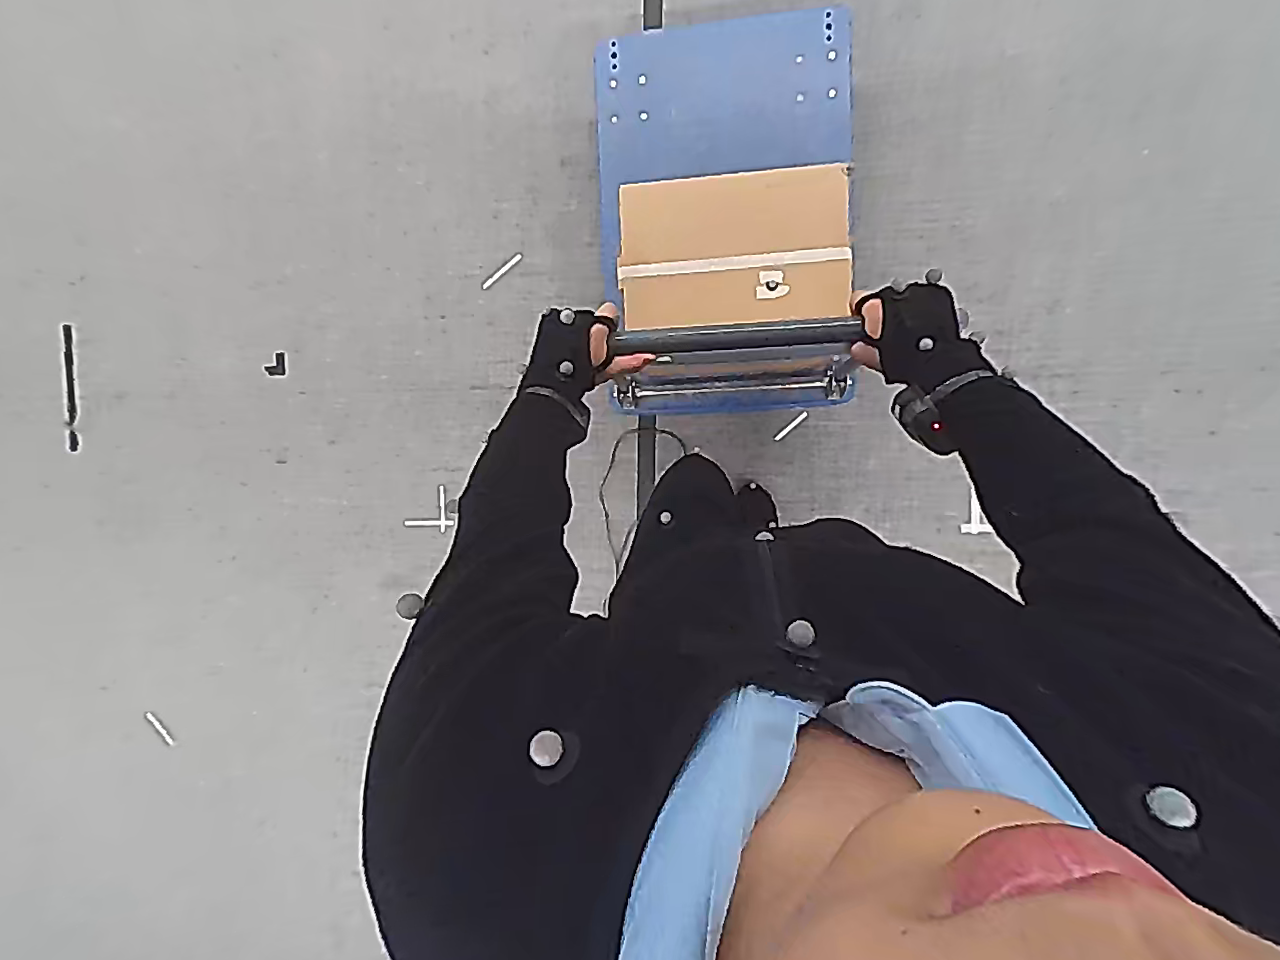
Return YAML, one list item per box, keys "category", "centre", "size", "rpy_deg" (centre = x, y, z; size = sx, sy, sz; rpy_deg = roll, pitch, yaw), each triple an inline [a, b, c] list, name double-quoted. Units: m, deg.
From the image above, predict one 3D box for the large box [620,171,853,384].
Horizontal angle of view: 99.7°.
- category: "large box"
  centre: [0.184, -0.380, 1.109]
  size: [0.408, 0.320, 0.320]
  rpy_deg: [-2, 94, 7]
